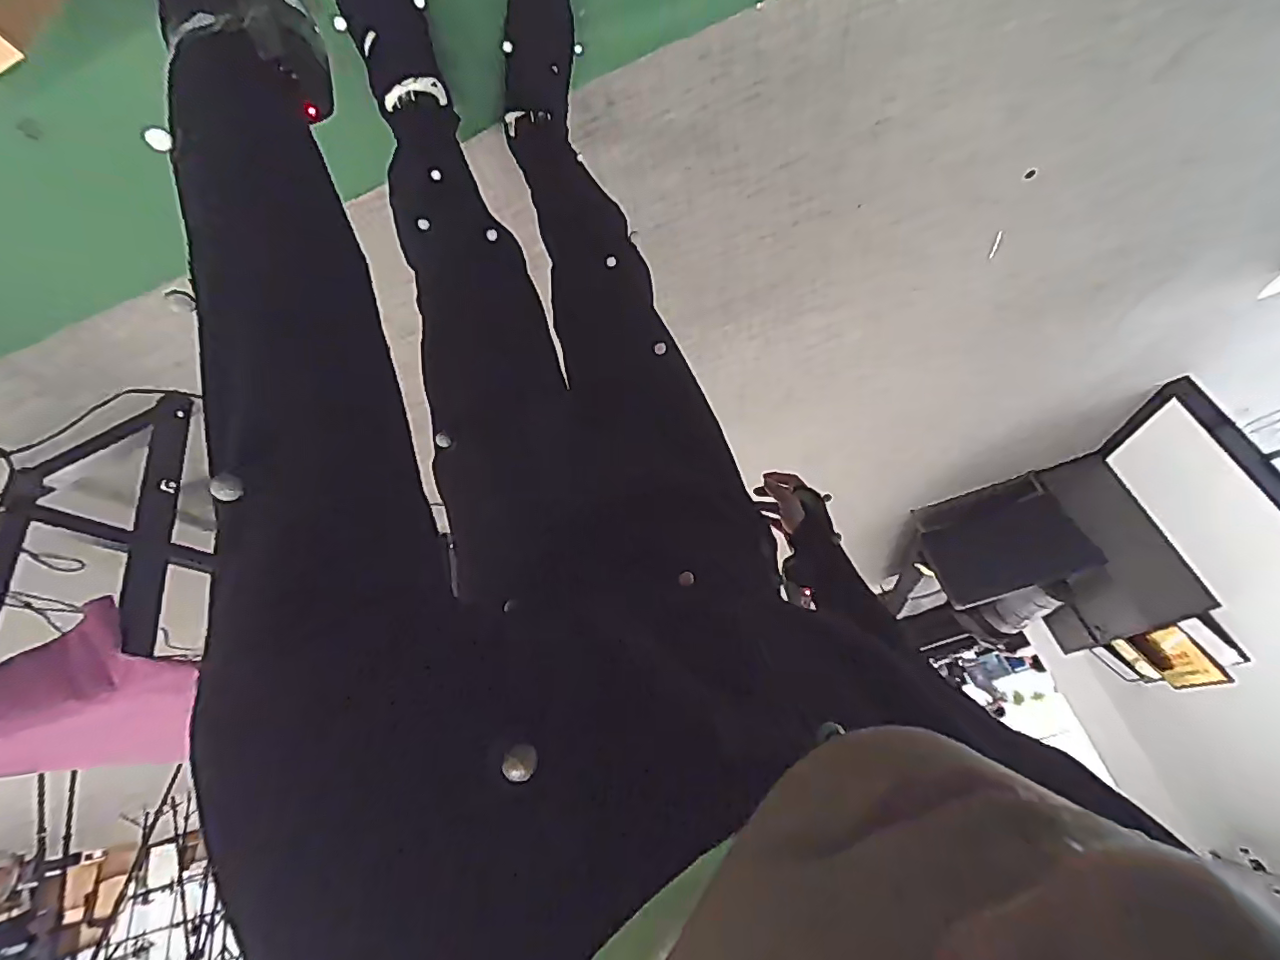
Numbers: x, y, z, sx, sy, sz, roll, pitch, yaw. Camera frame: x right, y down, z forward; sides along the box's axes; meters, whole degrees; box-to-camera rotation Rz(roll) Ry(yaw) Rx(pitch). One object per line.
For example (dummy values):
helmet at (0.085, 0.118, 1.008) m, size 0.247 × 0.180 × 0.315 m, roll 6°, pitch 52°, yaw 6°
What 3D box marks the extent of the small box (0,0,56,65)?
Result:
small box at (-0.740, -0.513, 0.524) m, size 0.168 × 0.176 × 0.179 m, roll -20°, pitch 152°, yaw 9°
